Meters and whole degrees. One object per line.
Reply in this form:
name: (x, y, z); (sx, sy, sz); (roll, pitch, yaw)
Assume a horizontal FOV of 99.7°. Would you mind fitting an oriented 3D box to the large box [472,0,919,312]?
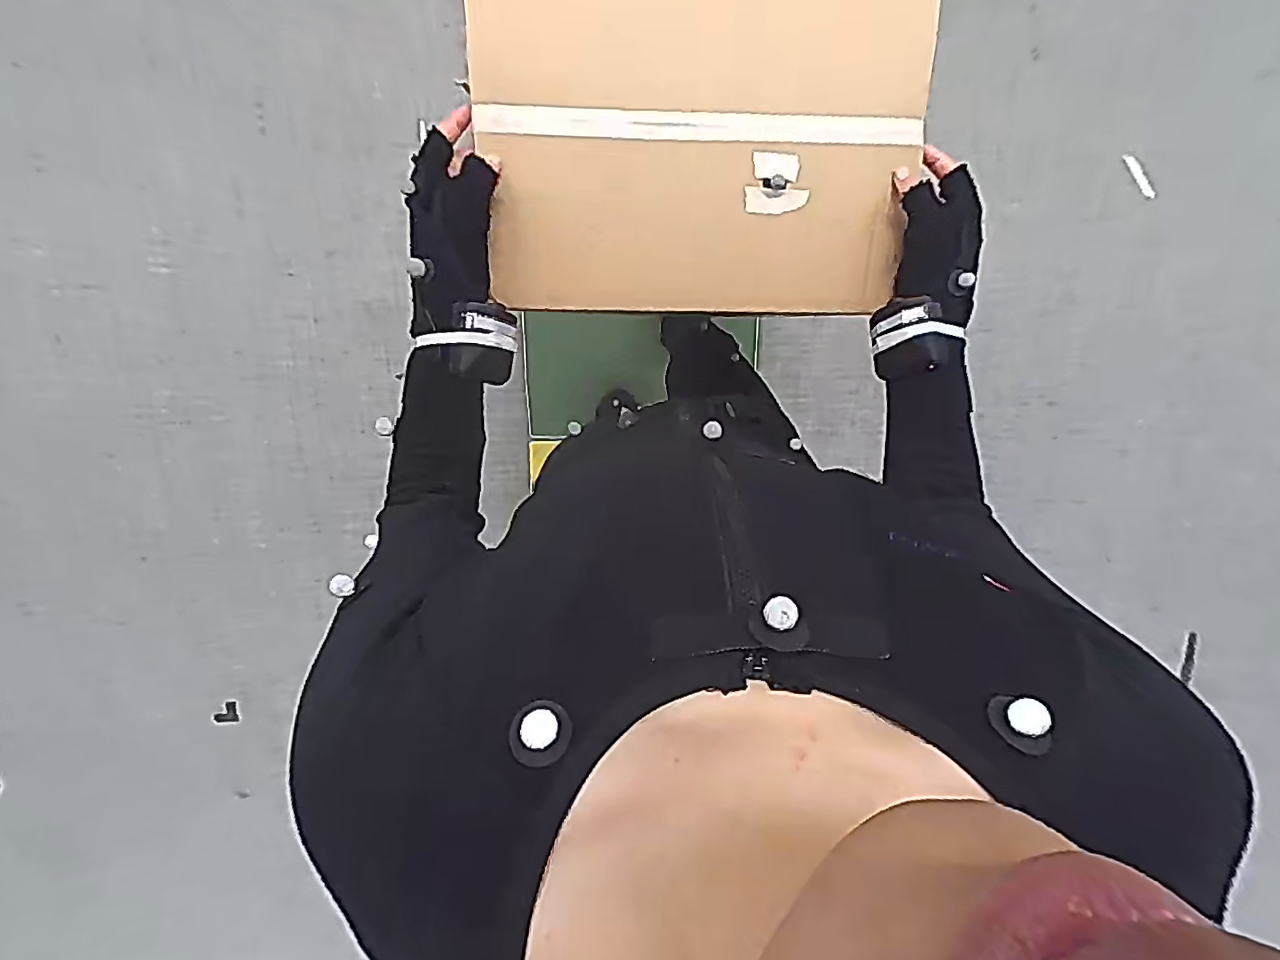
large box: (0.041, -0.369, 0.642); (0.408, 0.320, 0.320); (-1, 106, -5)
